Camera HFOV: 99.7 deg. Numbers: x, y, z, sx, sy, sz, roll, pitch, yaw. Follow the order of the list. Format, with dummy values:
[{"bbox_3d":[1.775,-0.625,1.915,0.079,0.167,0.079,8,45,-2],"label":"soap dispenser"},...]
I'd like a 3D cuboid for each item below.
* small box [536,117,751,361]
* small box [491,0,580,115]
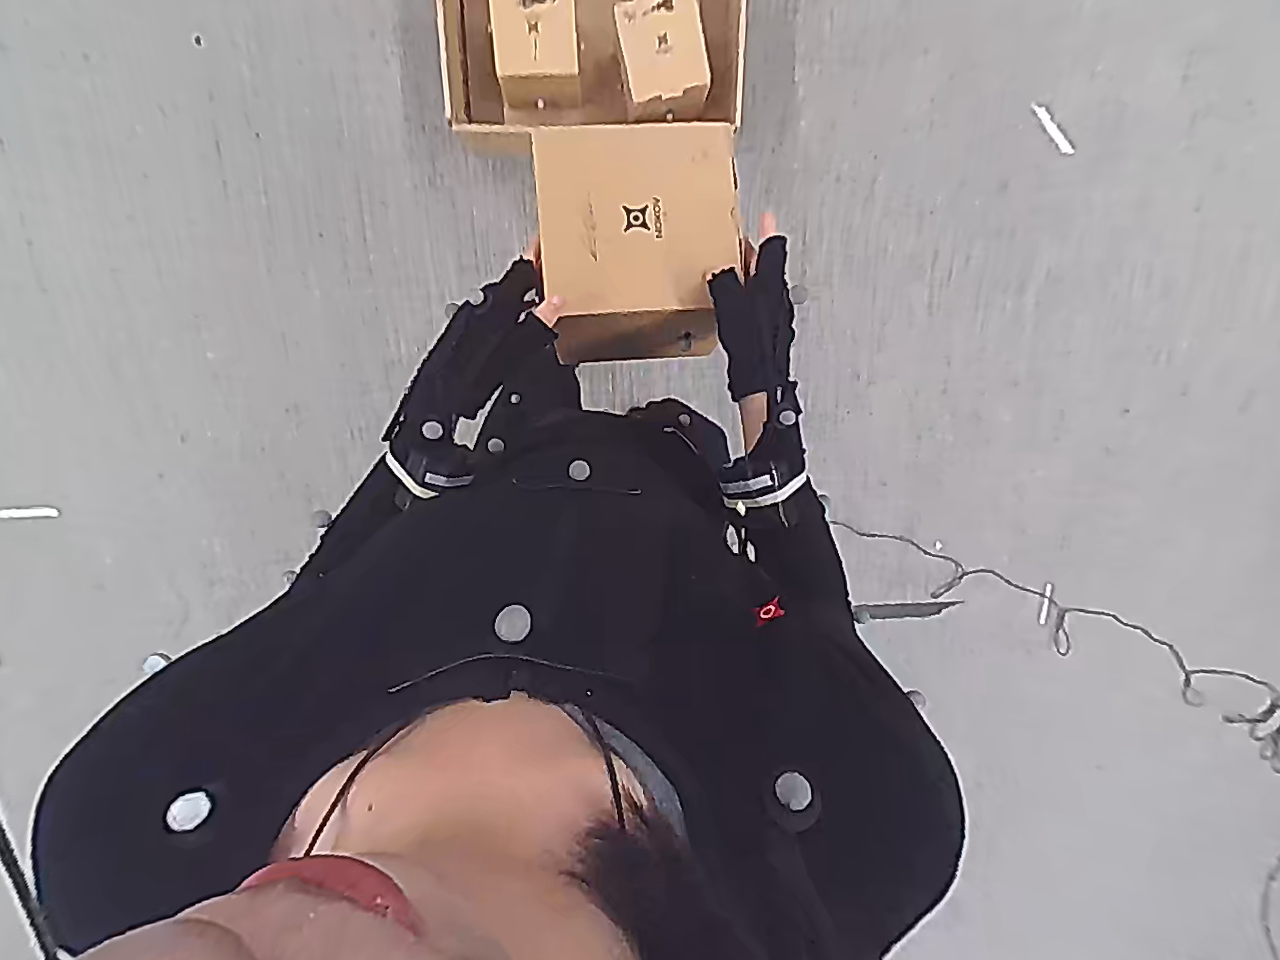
[{"bbox_3d":[-0.002,-0.223,0.537,0.179,0.176,0.168,-5,88,-4],"label":"small box"},{"bbox_3d":[-0.214,-0.902,1.139,0.168,0.176,0.179,-3,104,-3],"label":"small box"}]
